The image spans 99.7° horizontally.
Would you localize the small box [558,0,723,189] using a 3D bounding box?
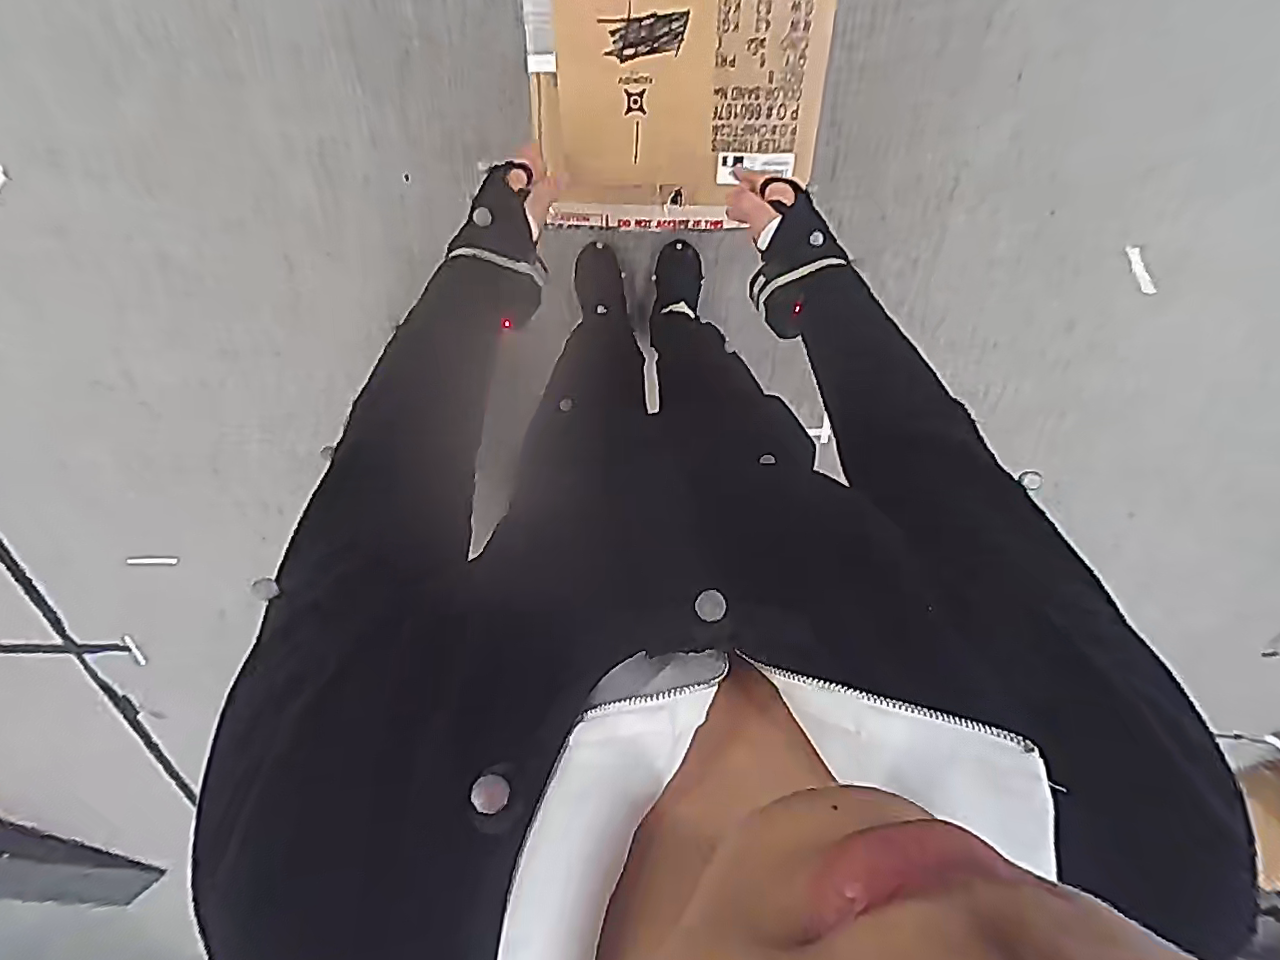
[{"bbox_3d":[-0.001,-0.450,0.636,0.168,0.176,0.179,-1,125,0],"label":"small box"}]
